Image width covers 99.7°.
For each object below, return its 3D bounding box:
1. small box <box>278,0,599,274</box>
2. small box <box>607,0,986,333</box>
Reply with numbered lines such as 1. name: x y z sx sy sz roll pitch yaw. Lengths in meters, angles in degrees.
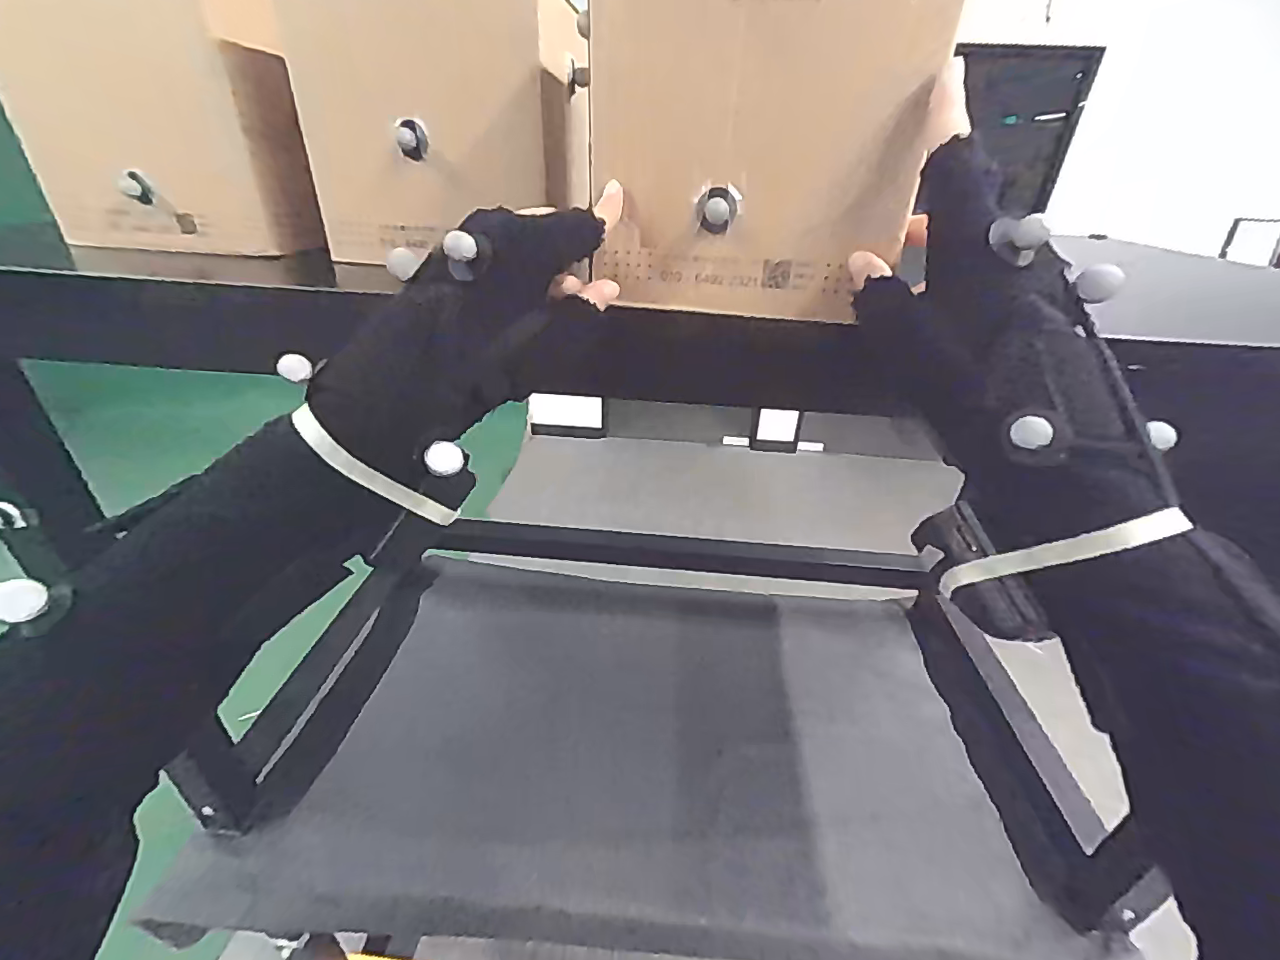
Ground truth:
1. small box: -0.125 -0.263 0.417 0.168 0.176 0.179 6 31 4
2. small box: 0.074 -0.202 0.336 0.168 0.176 0.179 6 31 6
